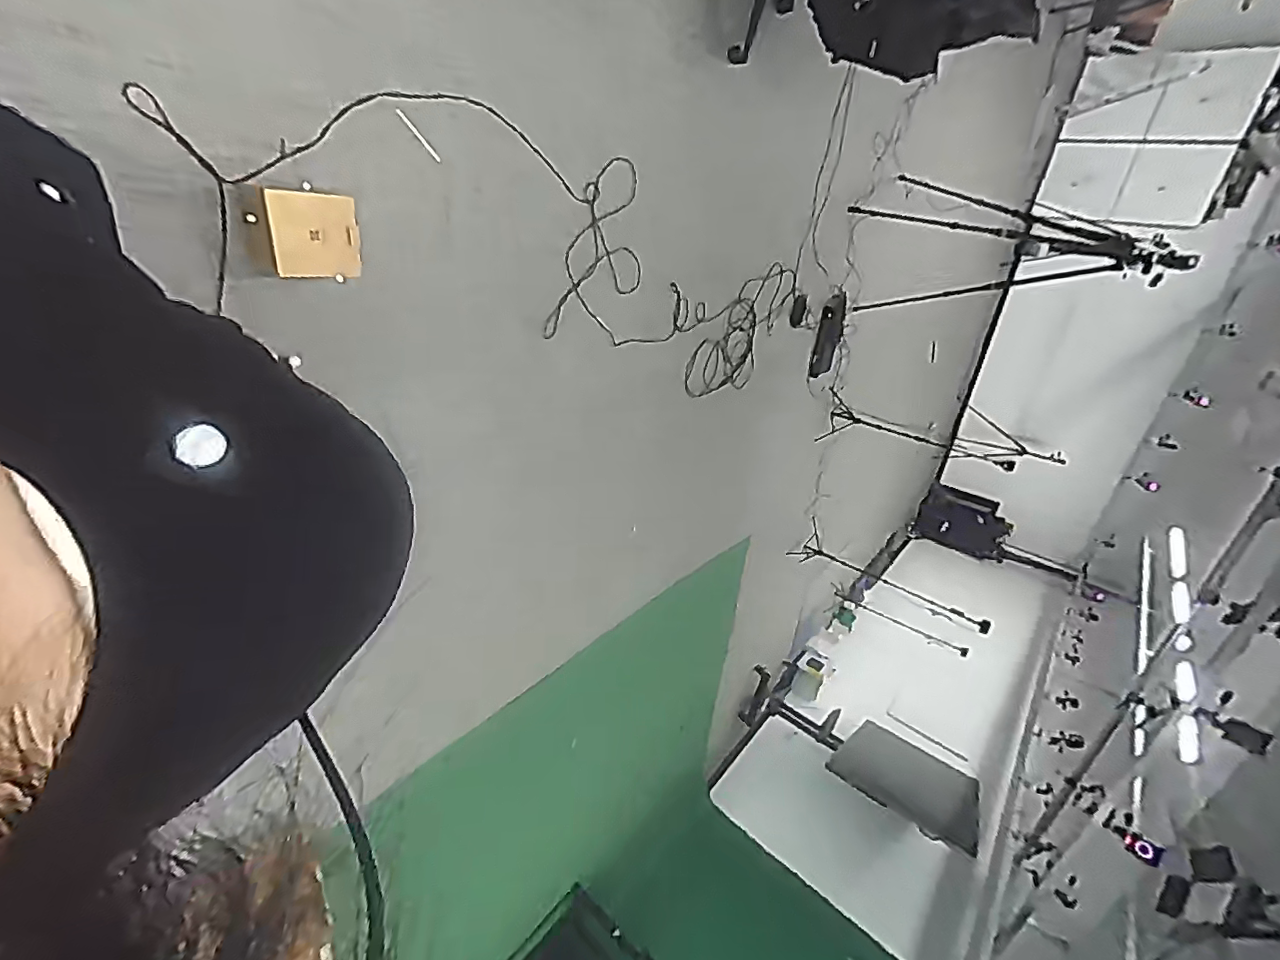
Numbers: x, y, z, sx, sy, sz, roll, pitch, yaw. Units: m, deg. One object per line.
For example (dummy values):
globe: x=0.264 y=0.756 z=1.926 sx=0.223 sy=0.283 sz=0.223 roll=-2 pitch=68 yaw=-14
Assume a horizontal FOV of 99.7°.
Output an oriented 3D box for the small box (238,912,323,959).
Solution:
small box: x=-1.057 y=1.442 z=1.602 sx=0.168 sy=0.176 sz=0.179 roll=-23 pitch=128 yaw=-44

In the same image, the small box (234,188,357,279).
small box: x=-0.754 y=-0.536 z=1.181 sx=0.179 sy=0.176 sz=0.168 roll=-24 pitch=129 yaw=-46

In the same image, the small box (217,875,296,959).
small box: x=-1.186 y=1.398 z=1.695 sx=0.168 sy=0.176 sz=0.179 roll=-25 pitch=129 yaw=-44
